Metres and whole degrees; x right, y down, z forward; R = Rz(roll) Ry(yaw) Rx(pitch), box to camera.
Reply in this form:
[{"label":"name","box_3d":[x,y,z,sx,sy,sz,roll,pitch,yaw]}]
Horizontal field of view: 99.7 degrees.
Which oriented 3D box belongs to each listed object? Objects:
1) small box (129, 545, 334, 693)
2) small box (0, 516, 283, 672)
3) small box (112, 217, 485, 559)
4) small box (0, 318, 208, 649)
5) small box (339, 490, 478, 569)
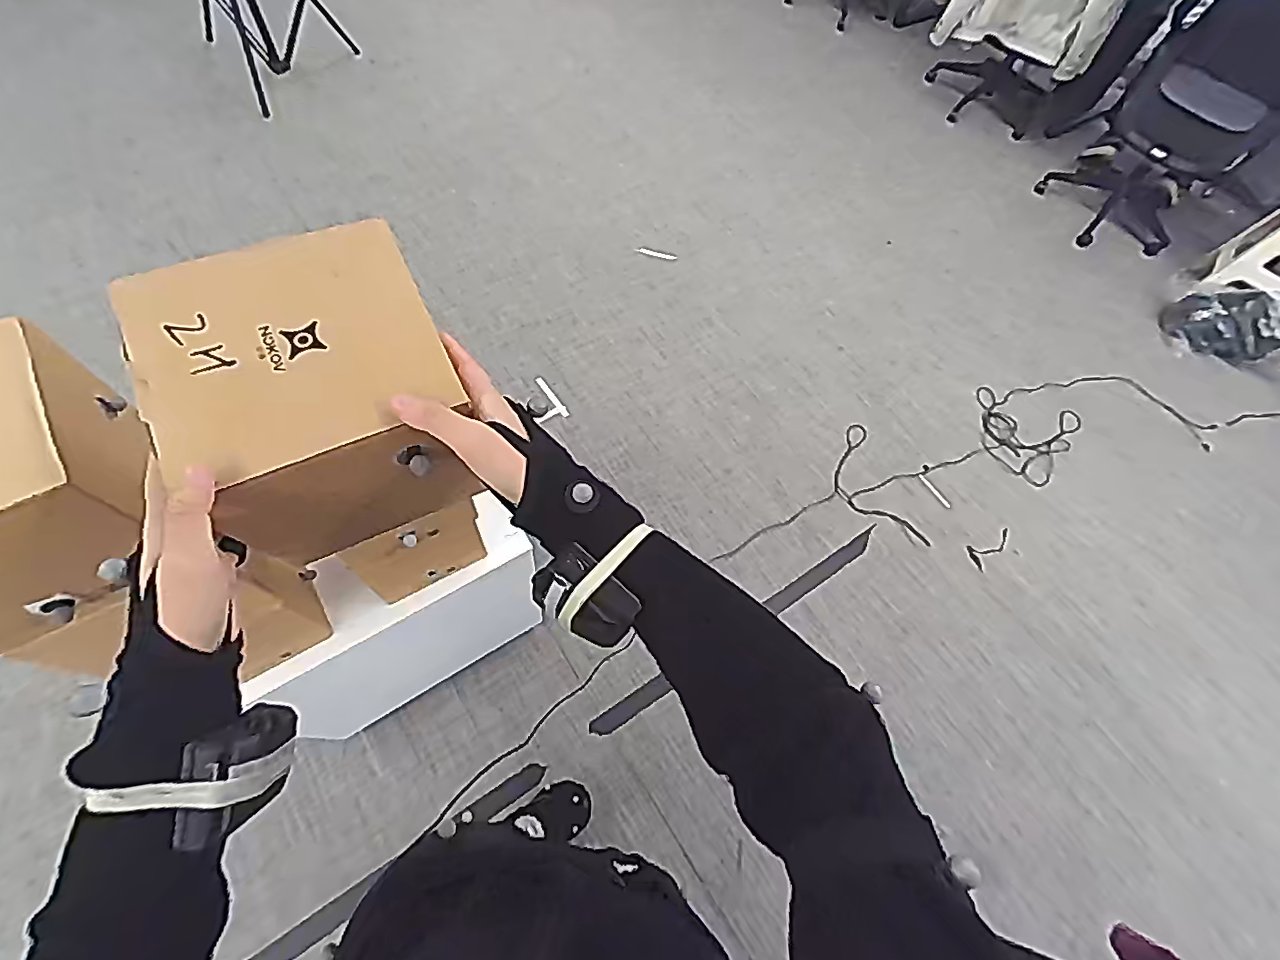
[{"label":"small box","box_3d":[-0.548,0.160,0.724,0.168,0.176,0.179,-28,69,-19]},{"label":"small box","box_3d":[-0.527,0.087,0.580,0.168,0.176,0.179,-30,70,-21]},{"label":"small box","box_3d":[-0.231,-0.059,0.417,0.179,0.176,0.168,-24,75,-17]},{"label":"small box","box_3d":[-0.507,0.011,0.438,0.168,0.176,0.179,-30,71,-20]},{"label":"small box","box_3d":[-0.317,-0.019,0.662,0.168,0.176,0.179,-27,71,-19]}]
